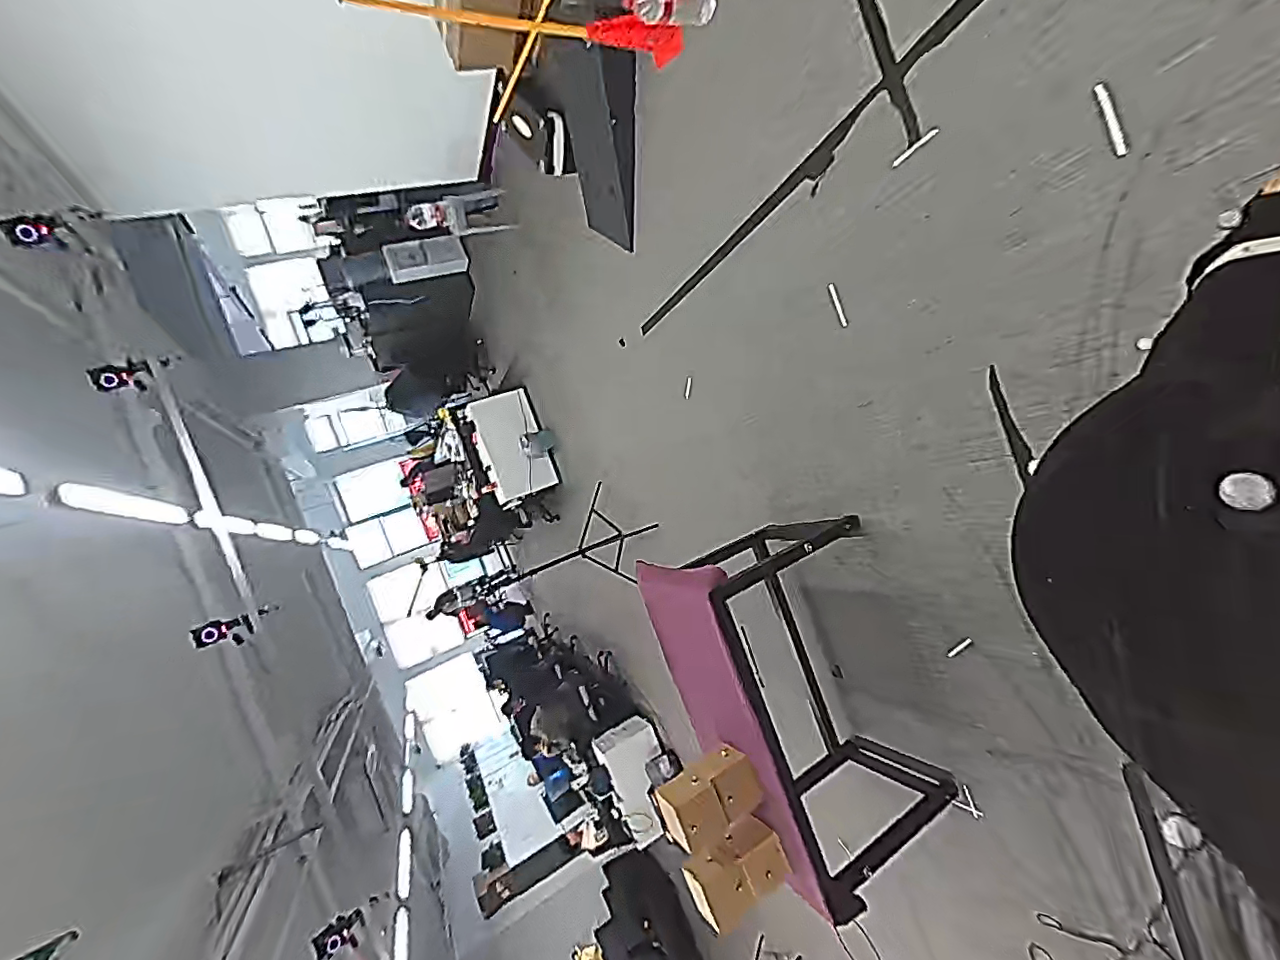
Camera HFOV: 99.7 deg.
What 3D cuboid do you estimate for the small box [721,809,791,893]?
[{"bbox_3d":[0.435,1.365,2.006,0.168,0.176,0.179,68,157,2],"label":"small box"}]

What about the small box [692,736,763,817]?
[{"bbox_3d":[0.327,1.090,2.004,0.168,0.176,0.179,-23,88,67],"label":"small box"}]

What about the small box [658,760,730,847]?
[{"bbox_3d":[0.194,1.144,1.927,0.168,0.176,0.179,-17,93,65],"label":"small box"}]

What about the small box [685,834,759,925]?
[{"bbox_3d":[0.295,1.426,1.948,0.179,0.176,0.168,68,157,4],"label":"small box"}]
